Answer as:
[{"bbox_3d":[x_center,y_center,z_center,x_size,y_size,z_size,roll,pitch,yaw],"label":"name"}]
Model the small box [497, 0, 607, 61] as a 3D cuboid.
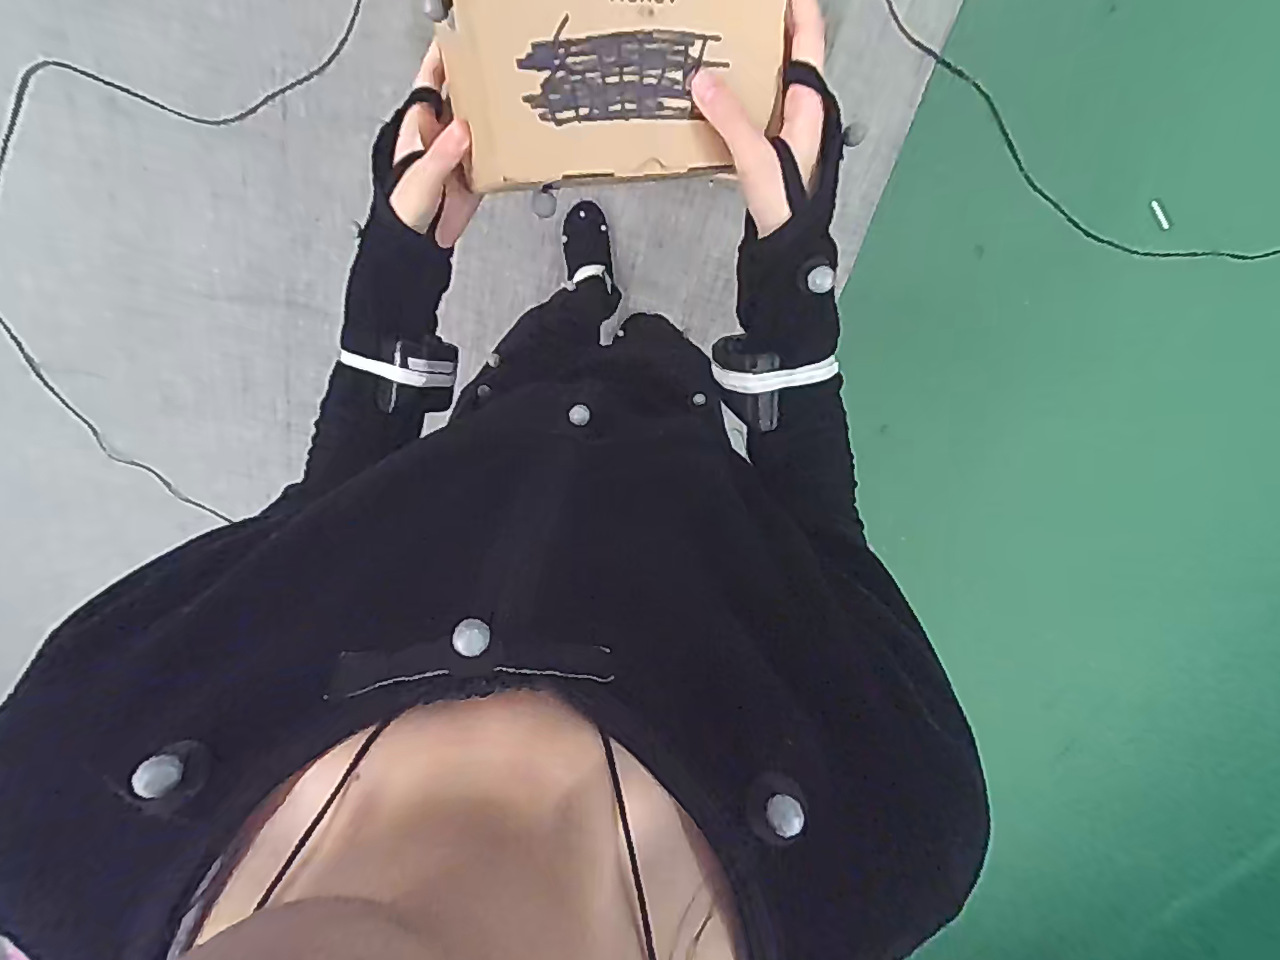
[{"bbox_3d":[-0.152,-0.892,0.984,0.179,0.176,0.168,8,118,-7],"label":"small box"}]
